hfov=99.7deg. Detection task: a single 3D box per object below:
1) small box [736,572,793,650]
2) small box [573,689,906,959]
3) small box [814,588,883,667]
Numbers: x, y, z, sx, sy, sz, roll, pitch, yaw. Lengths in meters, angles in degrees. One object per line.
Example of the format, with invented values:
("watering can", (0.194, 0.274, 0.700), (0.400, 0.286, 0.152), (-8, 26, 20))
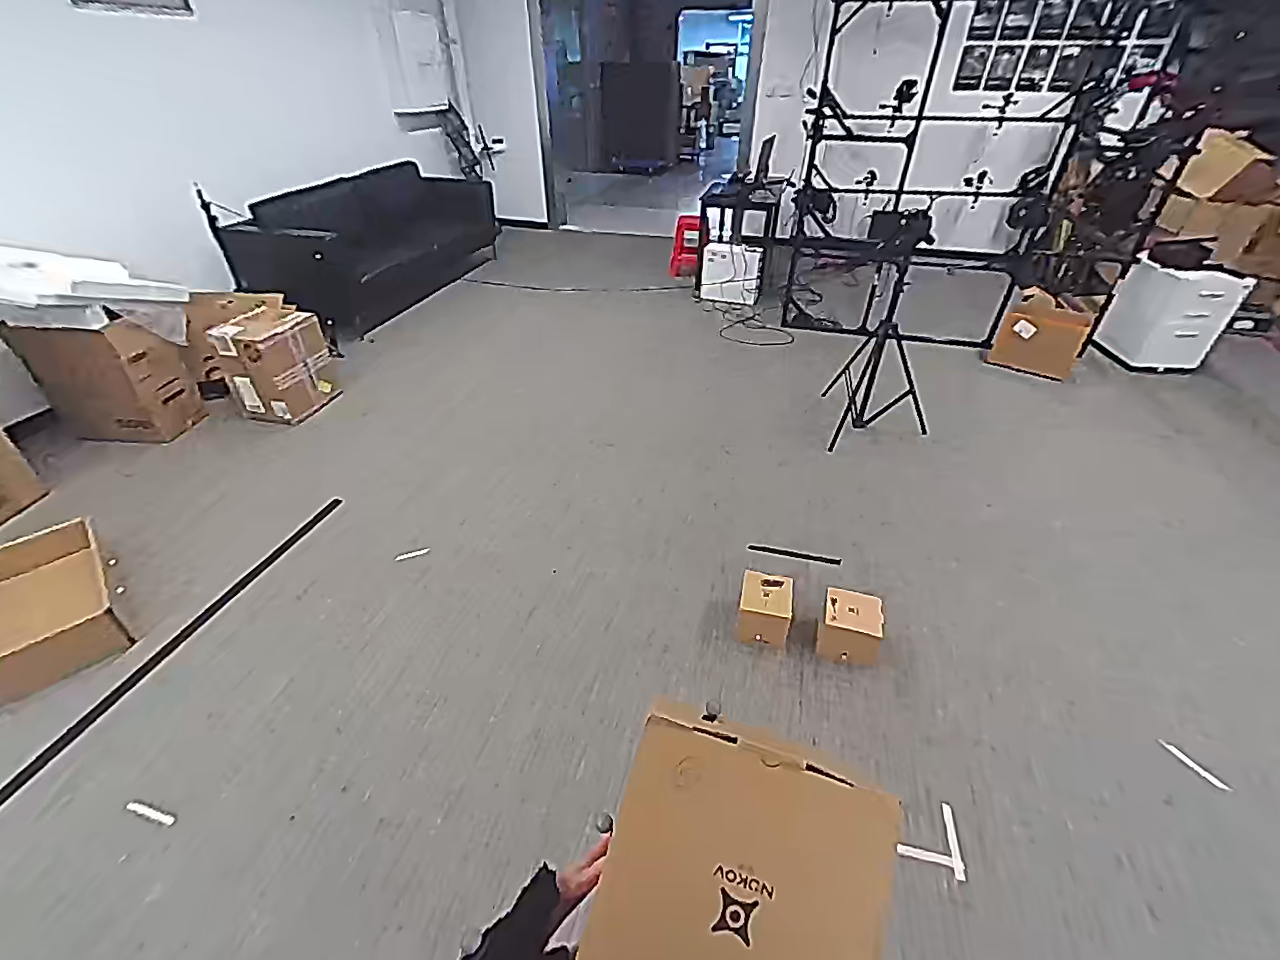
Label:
("small box", (0.424, 0.446, 1.847), (0.168, 0.176, 0.179), (9, 39, 12))
("small box", (0.064, 0.266, 0.393), (0.168, 0.176, 0.179), (16, 75, 10))
("small box", (0.690, 0.491, 1.790), (0.179, 0.176, 0.168), (12, 39, 14))
